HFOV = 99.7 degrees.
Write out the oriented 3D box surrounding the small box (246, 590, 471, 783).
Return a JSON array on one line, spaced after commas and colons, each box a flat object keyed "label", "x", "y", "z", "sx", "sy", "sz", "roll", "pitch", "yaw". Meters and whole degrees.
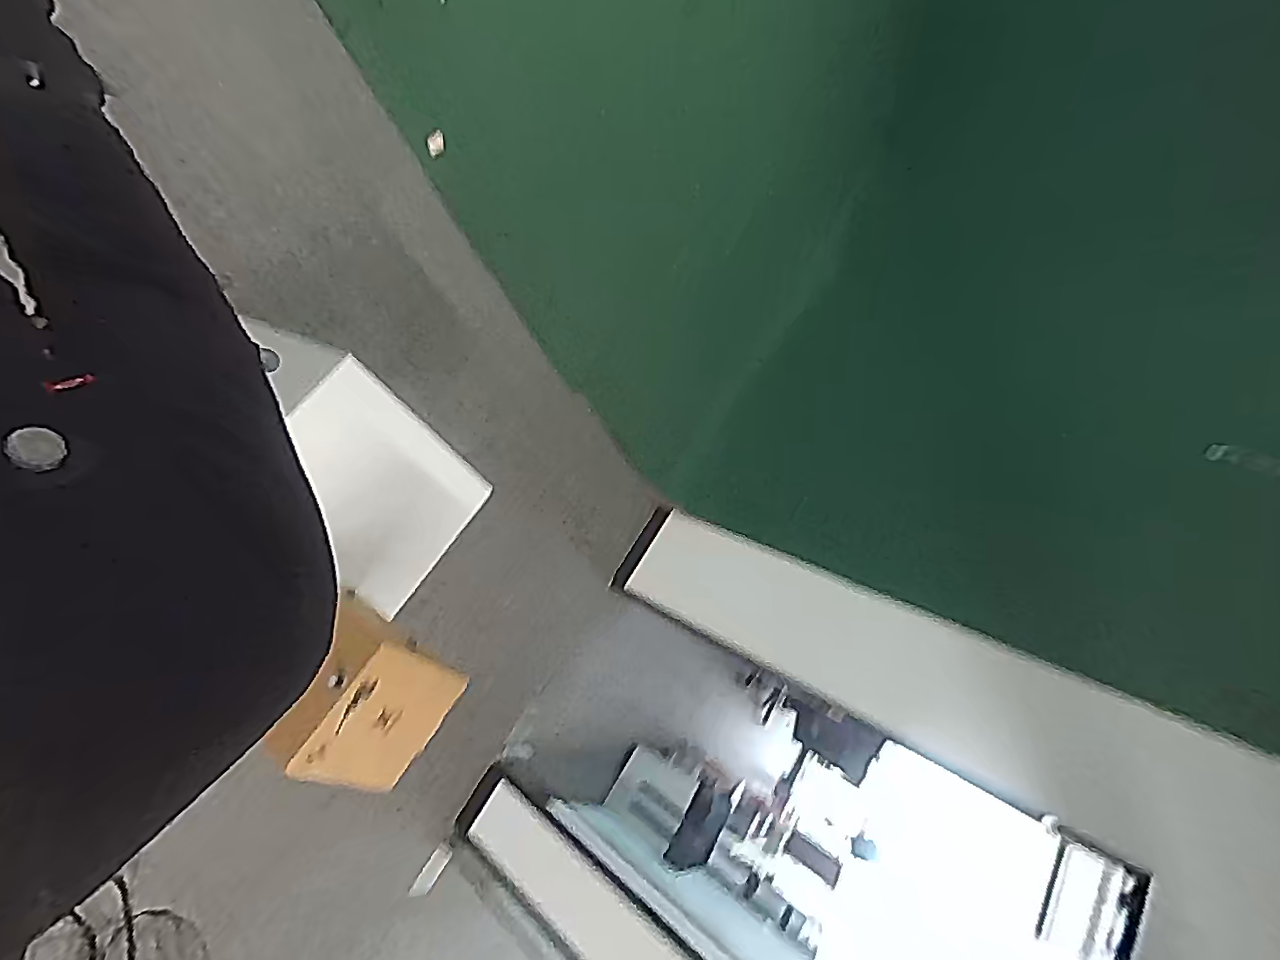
[{"label": "small box", "x": -0.374, "y": 0.274, "z": 0.732, "sx": 0.168, "sy": 0.176, "sz": 0.179, "roll": -55, "pitch": 144, "yaw": -19}]
